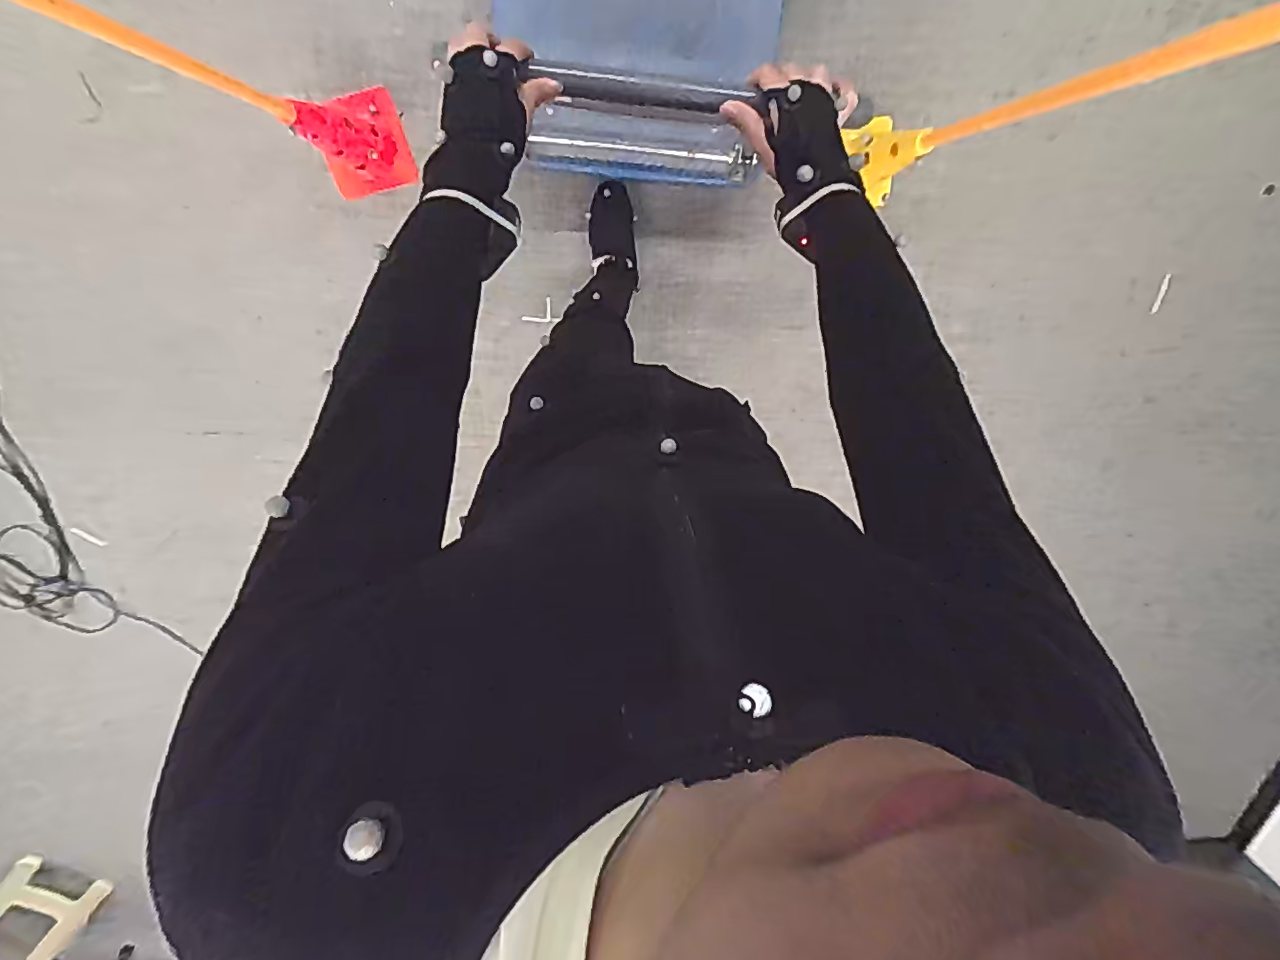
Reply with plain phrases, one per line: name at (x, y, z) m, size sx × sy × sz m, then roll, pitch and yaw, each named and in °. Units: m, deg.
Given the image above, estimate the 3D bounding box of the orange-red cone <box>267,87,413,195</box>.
orange-red cone at (-0.648, -0.727, 1.114) m, size 0.199 × 0.360 × 0.198 m, roll -12°, pitch 113°, yaw 3°
